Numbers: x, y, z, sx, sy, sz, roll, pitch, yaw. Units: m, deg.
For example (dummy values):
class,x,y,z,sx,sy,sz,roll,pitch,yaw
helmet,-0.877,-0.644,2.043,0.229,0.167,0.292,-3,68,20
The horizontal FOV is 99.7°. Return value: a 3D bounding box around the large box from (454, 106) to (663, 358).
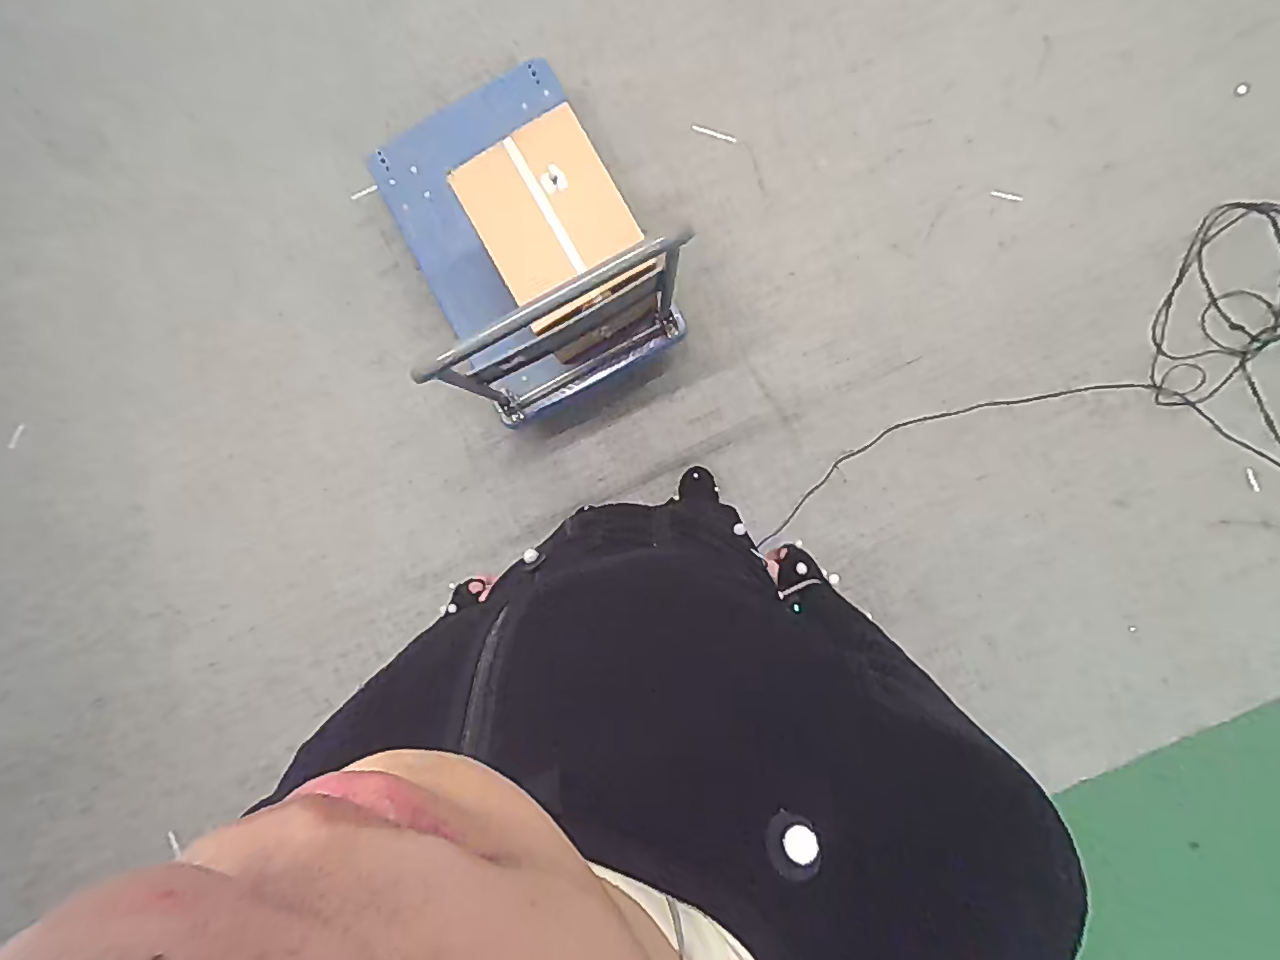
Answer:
class,x,y,z,sx,sy,sz,roll,pitch,yaw
large box,-0.174,-0.572,1.327,0.320,0.320,0.408,-29,88,2
